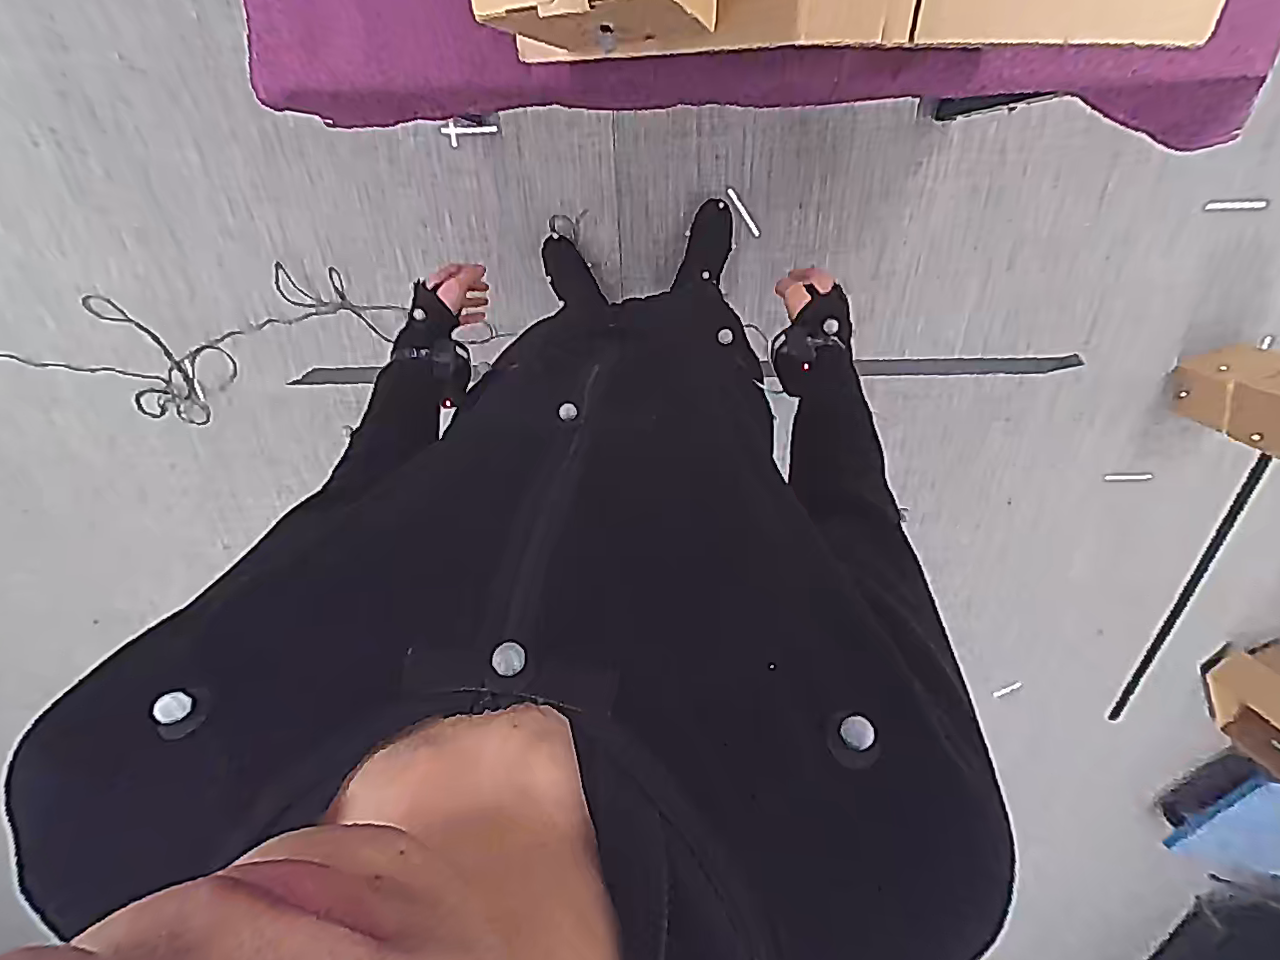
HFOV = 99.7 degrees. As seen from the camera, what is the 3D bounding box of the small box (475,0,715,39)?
[{"bbox_3d":[-0.033,-0.484,0.441,0.168,0.176,0.179,9,123,18],"label":"small box"}]
